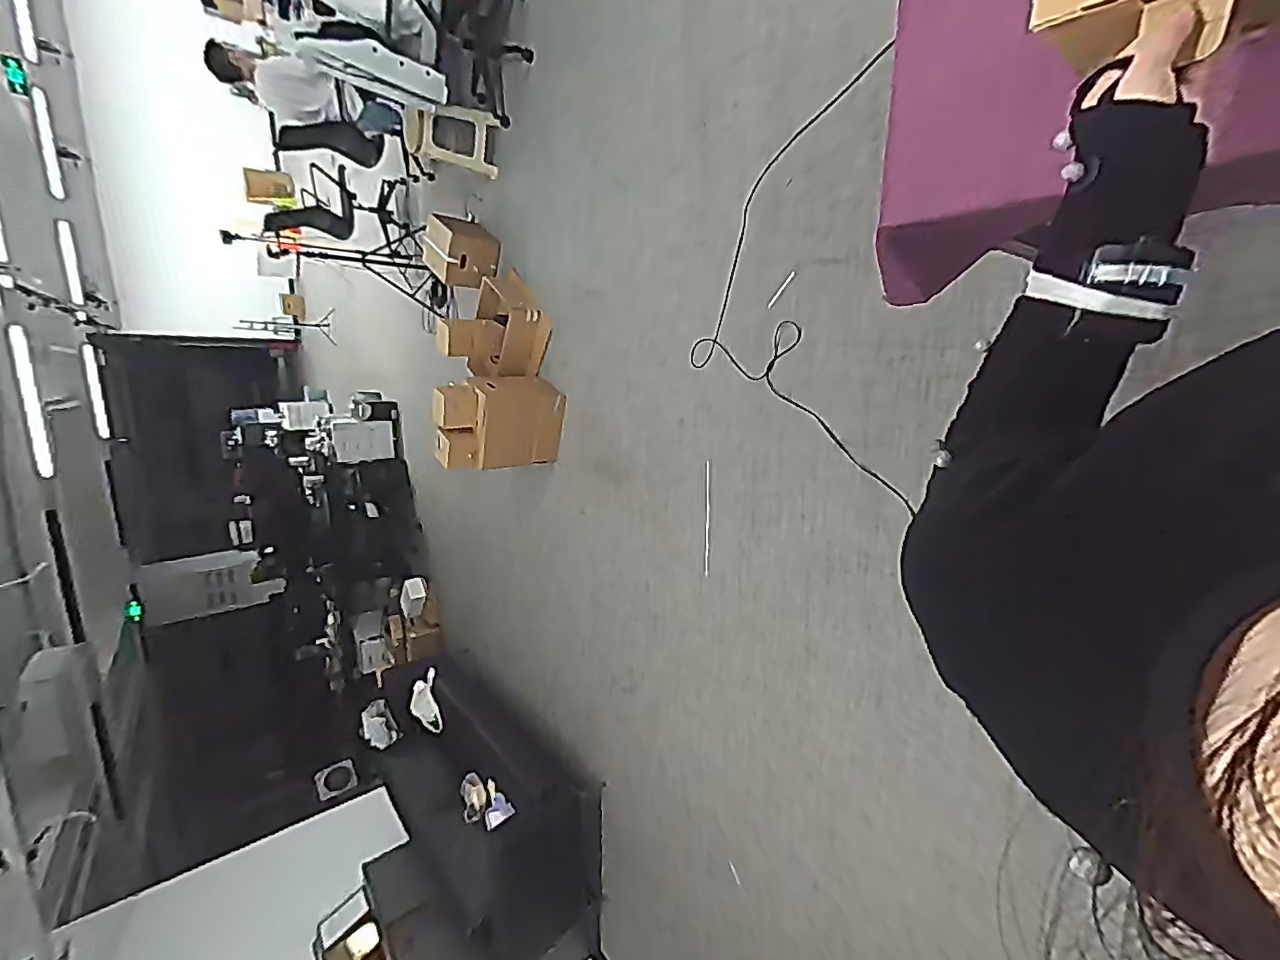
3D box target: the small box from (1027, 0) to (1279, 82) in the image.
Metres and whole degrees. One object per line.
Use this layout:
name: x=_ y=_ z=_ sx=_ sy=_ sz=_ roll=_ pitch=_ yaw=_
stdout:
small box: x=0.406 y=-0.423 z=0.380 sx=0.168 sy=0.176 sz=0.179 roll=16 pitch=116 yaw=48
